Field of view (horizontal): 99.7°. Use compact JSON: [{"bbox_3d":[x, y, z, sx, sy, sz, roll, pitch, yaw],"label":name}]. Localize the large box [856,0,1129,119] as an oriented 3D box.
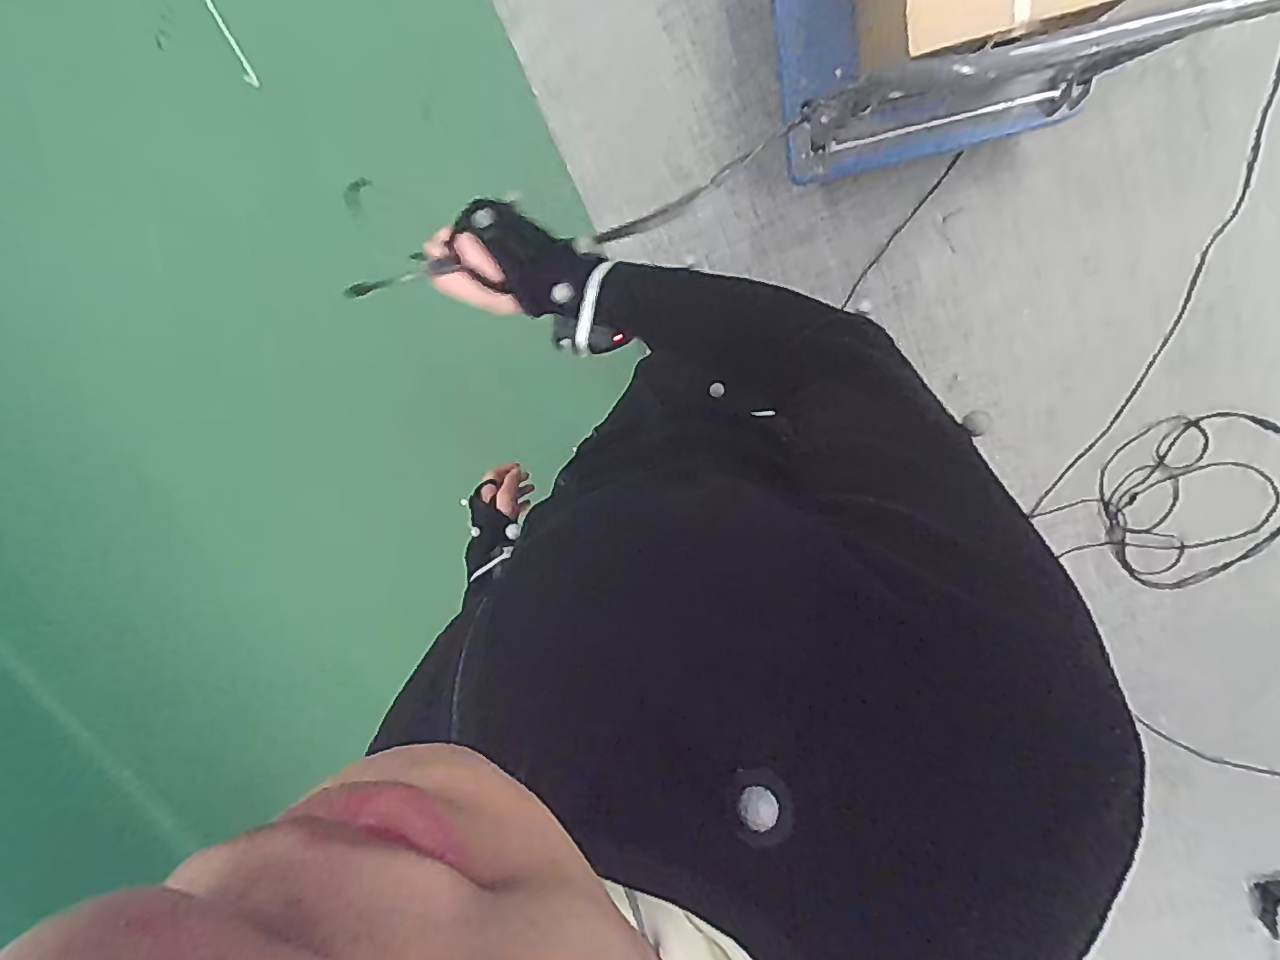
[{"bbox_3d":[0.549,-0.904,0.896,0.320,0.320,0.408,-8,108,11],"label":"large box"}]
